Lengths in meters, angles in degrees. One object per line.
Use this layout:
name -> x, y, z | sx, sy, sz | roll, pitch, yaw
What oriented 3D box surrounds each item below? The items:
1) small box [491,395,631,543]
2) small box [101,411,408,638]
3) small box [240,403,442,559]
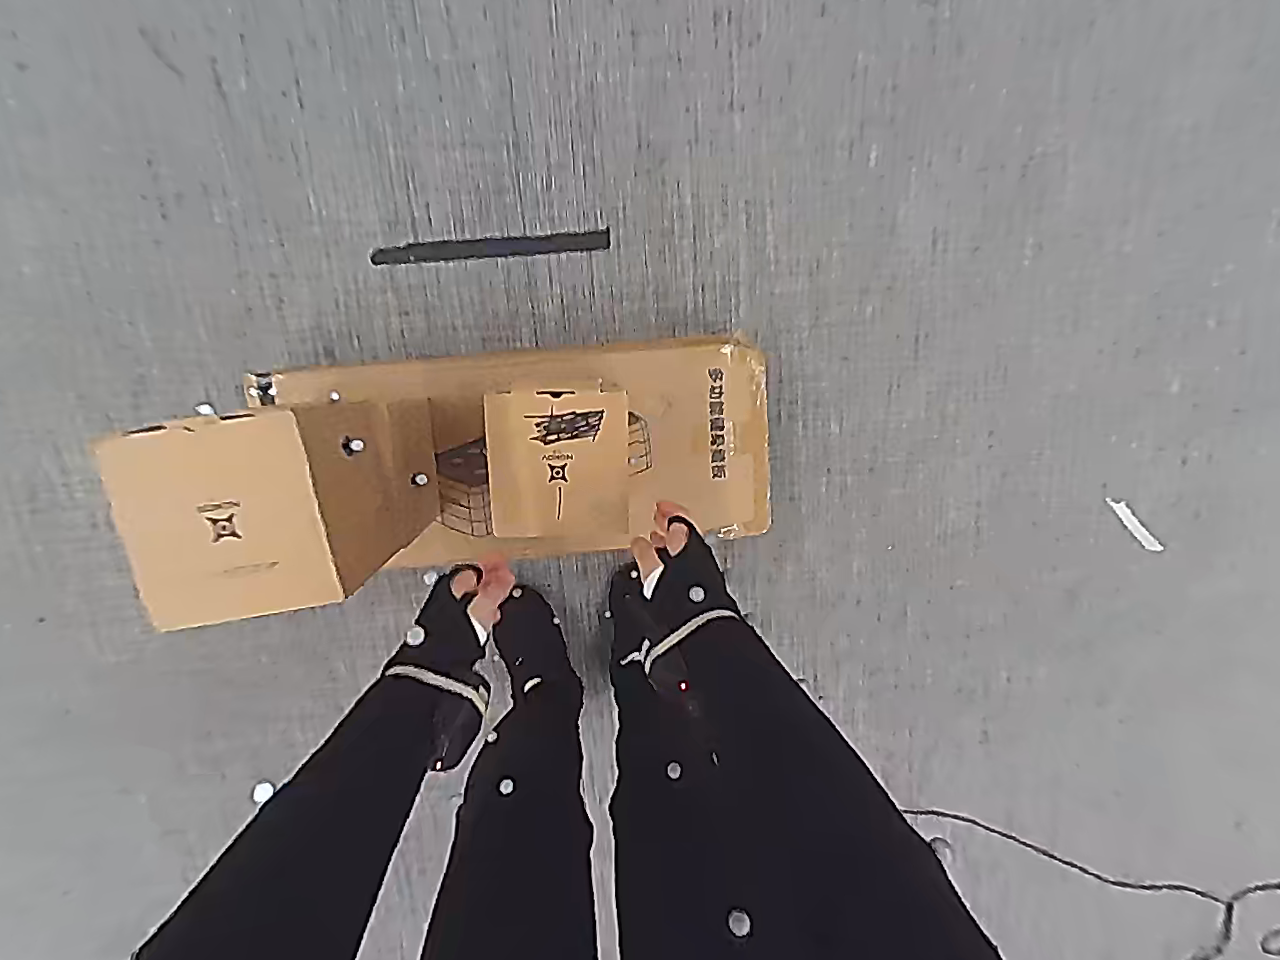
small box -> -0.100, -0.024, 0.722 | 0.168, 0.176, 0.179 | -1, 102, -4
small box -> -0.356, 0.028, 0.541 | 0.168, 0.176, 0.179 | -10, 102, -3
small box -> -0.367, -0.004, 0.700 | 0.168, 0.176, 0.179 | -3, 102, -5
